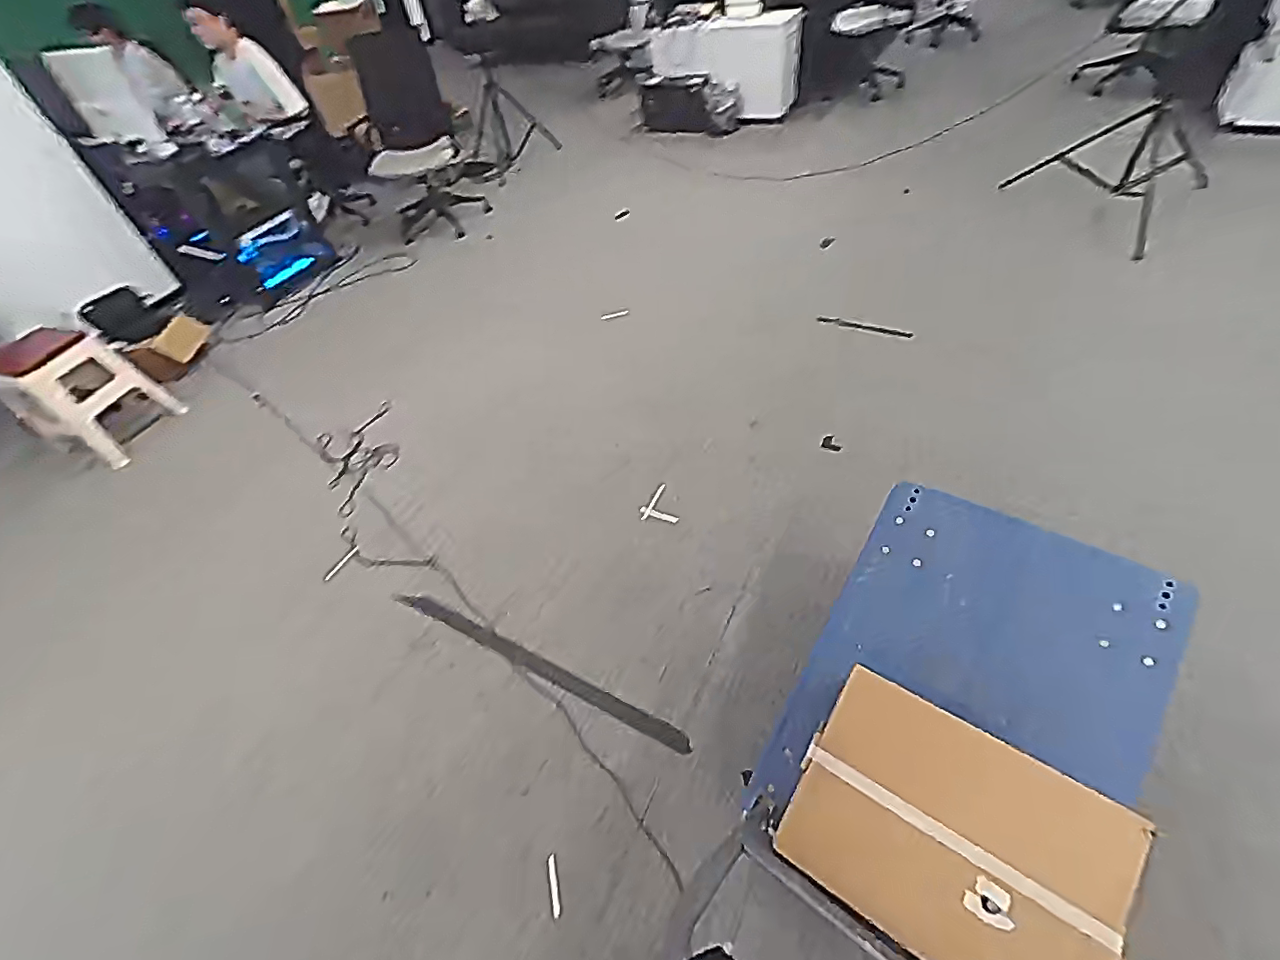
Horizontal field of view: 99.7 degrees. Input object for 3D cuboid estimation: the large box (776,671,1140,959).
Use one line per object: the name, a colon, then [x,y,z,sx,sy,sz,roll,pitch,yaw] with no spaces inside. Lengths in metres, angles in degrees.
large box: [0.486,0.580,0.916,0.408,0.320,0.320,25,75,27]
